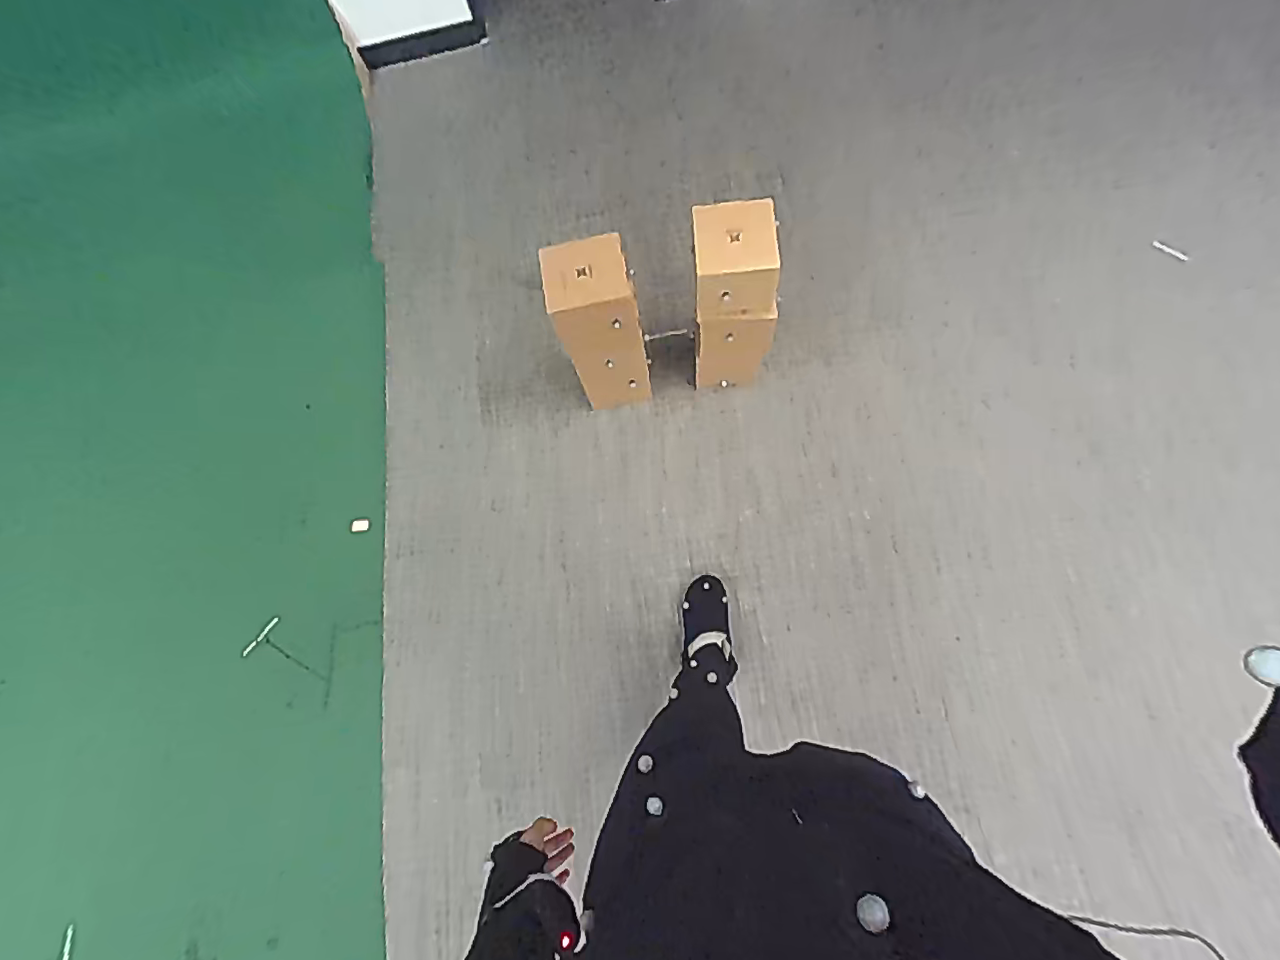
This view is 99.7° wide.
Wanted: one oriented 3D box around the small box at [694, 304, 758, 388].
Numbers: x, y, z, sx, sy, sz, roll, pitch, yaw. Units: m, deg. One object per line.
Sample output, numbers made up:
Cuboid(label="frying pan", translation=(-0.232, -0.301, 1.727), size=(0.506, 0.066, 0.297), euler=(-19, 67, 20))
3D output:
Cuboid(label="small box", translation=(0.231, -0.368, 1.481), size=(0.168, 0.176, 0.179), euler=(-2, 73, 7))

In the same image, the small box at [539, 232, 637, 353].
Cuboid(label="small box", translation=(-0.106, -0.403, 1.183), size=(0.179, 0.176, 0.168), euler=(-12, 71, 4))

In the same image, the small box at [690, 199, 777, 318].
Cuboid(label="small box", translation=(0.199, -0.469, 1.171), size=(0.168, 0.176, 0.179), euler=(-4, 72, 6))

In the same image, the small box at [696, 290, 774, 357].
Cuboid(label="small box", translation=(0.228, -0.415, 1.322), size=(0.179, 0.176, 0.168), euler=(-2, 73, 7))

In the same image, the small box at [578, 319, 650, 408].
Cuboid(label="small box", translation=(-0.069, -0.317, 1.499), size=(0.179, 0.176, 0.168), euler=(-10, 71, 3))
